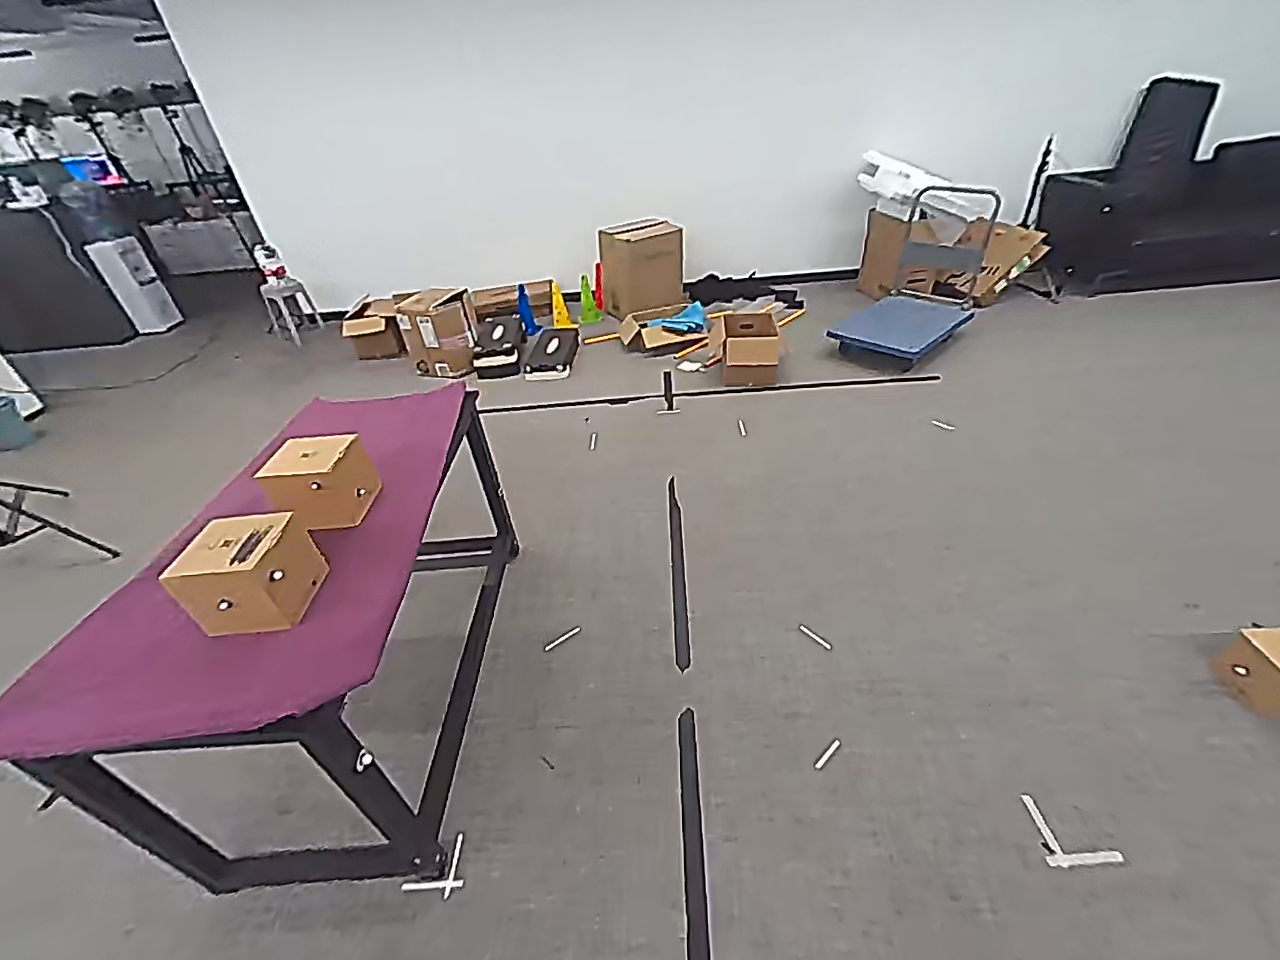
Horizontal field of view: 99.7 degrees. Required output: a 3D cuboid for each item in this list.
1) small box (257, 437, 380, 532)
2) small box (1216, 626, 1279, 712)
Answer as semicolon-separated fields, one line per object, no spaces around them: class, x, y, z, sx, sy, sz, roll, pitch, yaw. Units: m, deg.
small box;-0.777;0.013;1.328;0.179;0.176;0.168;-4;36;1
small box;1.785;0.529;1.509;0.179;0.176;0.168;-2;37;4
